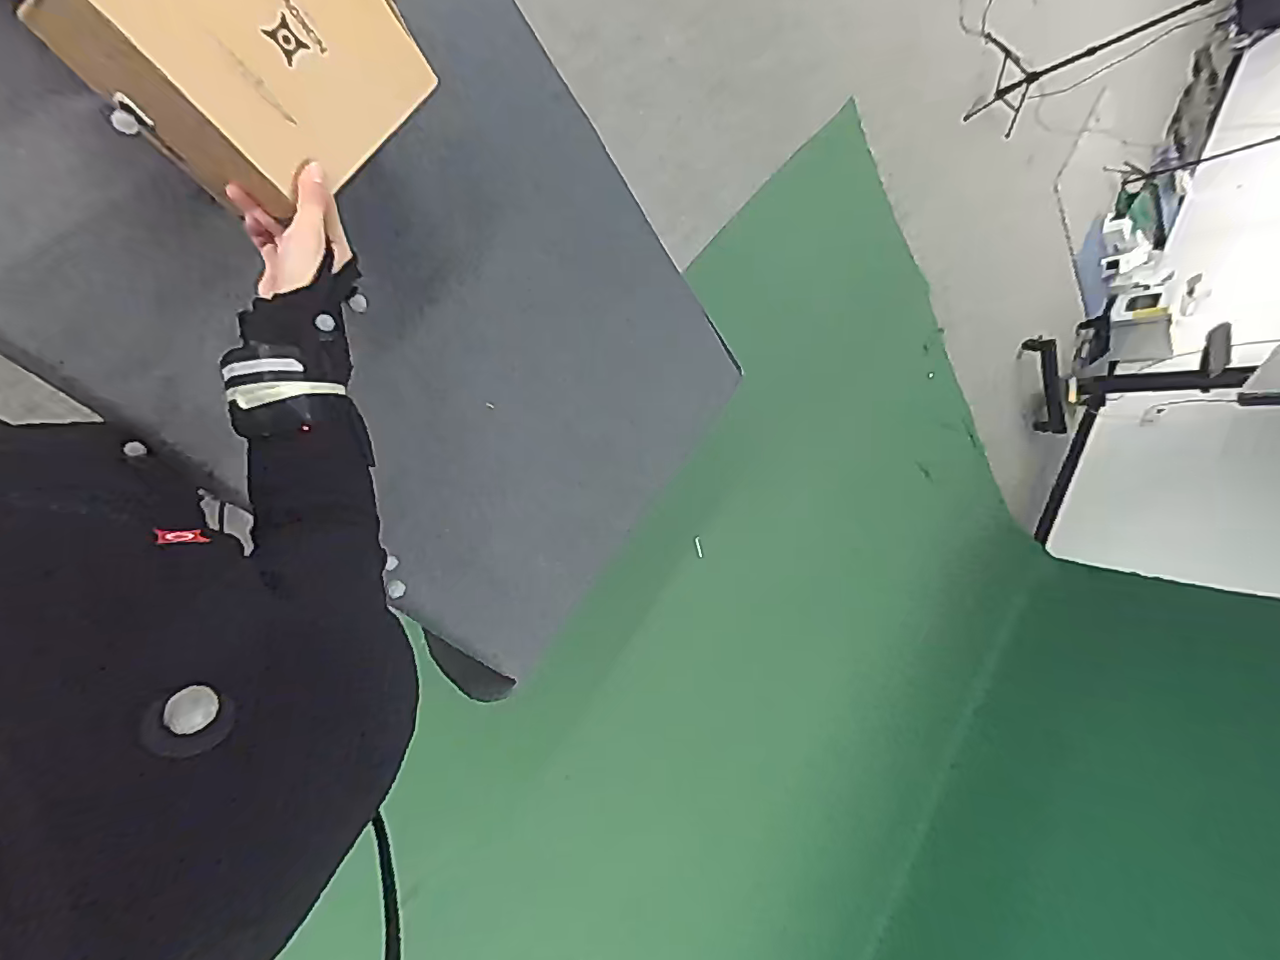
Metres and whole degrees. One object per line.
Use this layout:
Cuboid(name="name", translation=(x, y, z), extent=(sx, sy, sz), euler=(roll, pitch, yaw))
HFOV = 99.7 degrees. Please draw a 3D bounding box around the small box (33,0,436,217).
Cuboid(name="small box", translation=(-0.311, -0.339, 0.428), extent=(0.179, 0.176, 0.168), euler=(-59, 146, -15))
